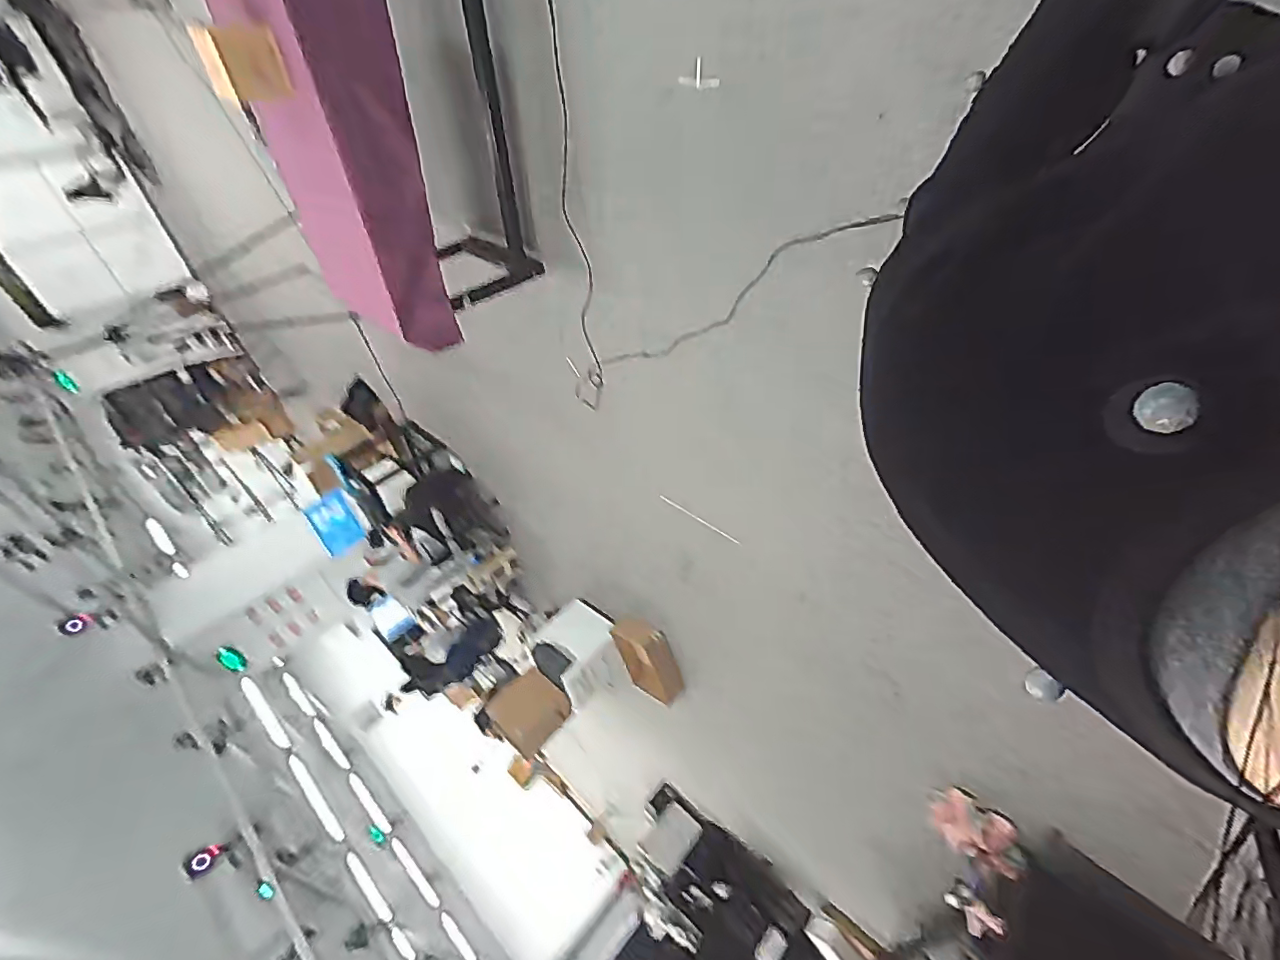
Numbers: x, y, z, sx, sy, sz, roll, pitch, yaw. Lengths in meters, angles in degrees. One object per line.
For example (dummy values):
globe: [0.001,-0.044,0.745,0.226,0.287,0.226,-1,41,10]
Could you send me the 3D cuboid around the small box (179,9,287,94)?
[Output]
small box: [-1.156,-1.233,1.550,0.179,0.176,0.168,34,144,28]
